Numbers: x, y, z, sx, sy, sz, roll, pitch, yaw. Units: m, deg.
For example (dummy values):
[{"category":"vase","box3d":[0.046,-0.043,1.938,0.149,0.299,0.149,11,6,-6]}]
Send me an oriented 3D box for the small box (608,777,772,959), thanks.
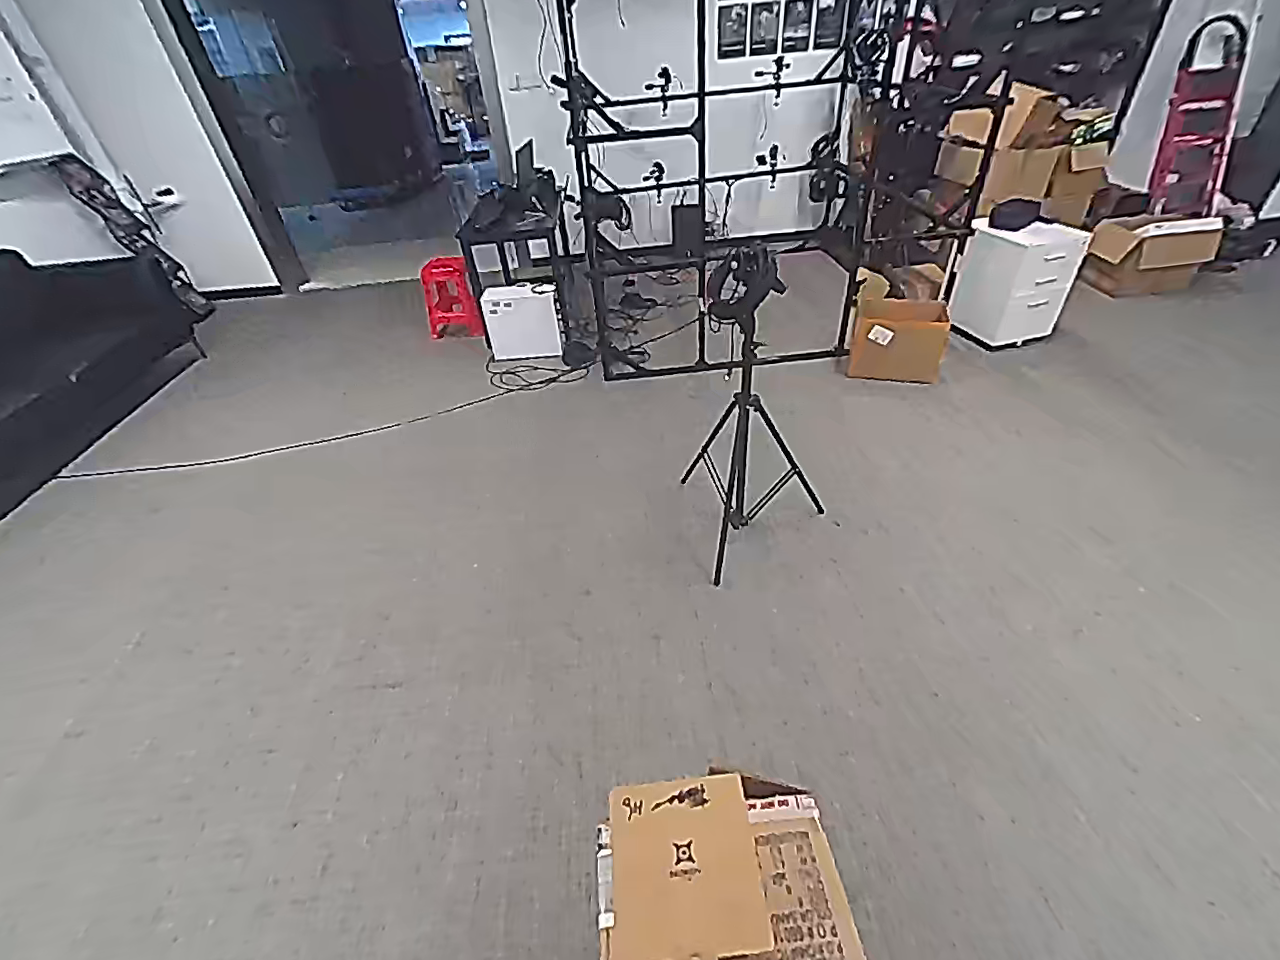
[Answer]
[{"category":"small box","box3d":[0.056,0.490,0.654,0.168,0.176,0.179,-7,42,0]}]
